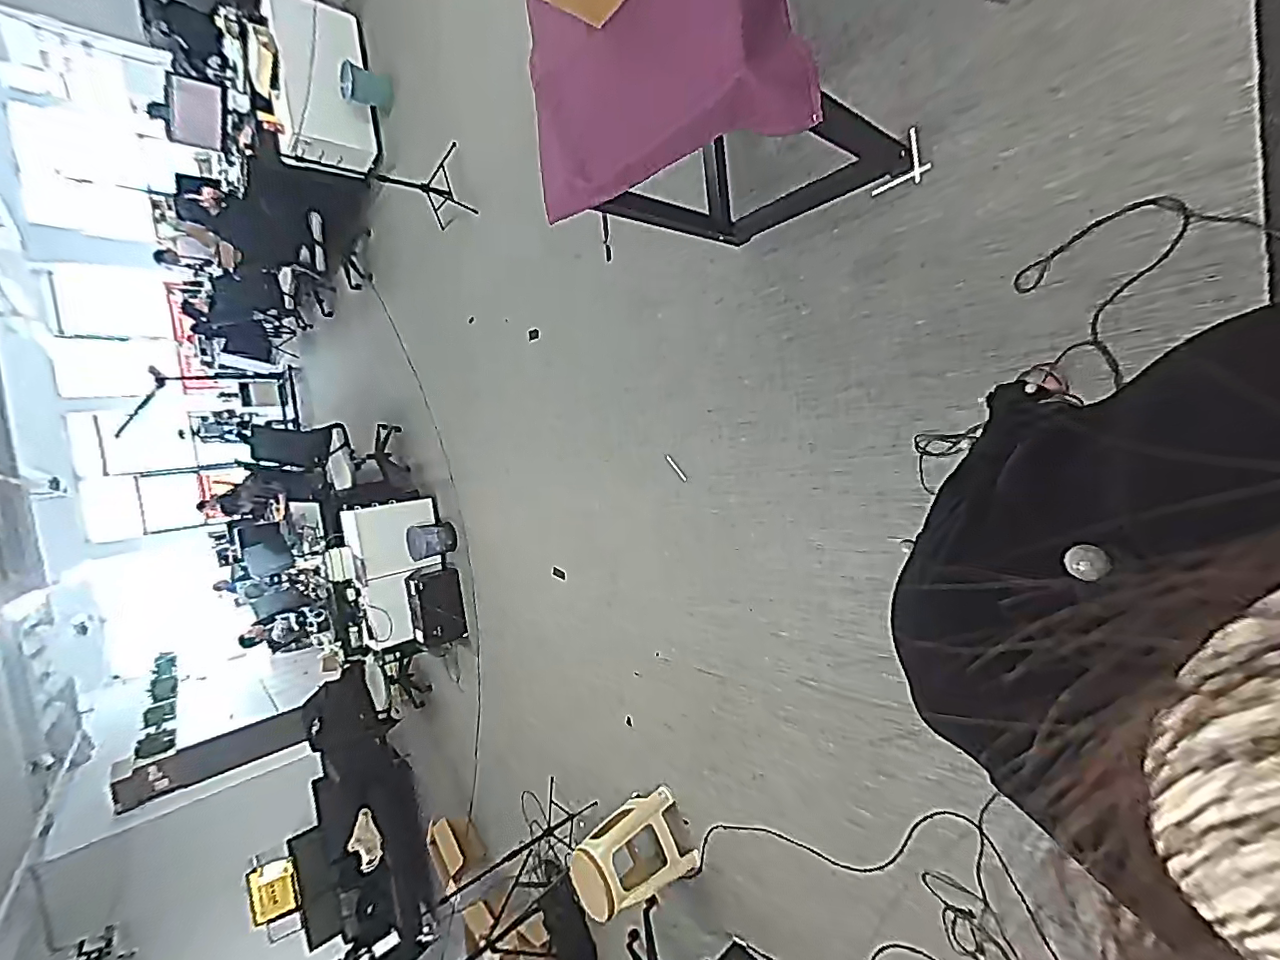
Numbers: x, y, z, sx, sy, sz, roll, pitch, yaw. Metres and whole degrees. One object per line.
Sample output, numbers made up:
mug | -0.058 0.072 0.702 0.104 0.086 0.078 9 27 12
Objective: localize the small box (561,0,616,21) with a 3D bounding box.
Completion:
small box | -0.102 -1.035 1.024 0.179 0.176 0.168 -5 94 49
